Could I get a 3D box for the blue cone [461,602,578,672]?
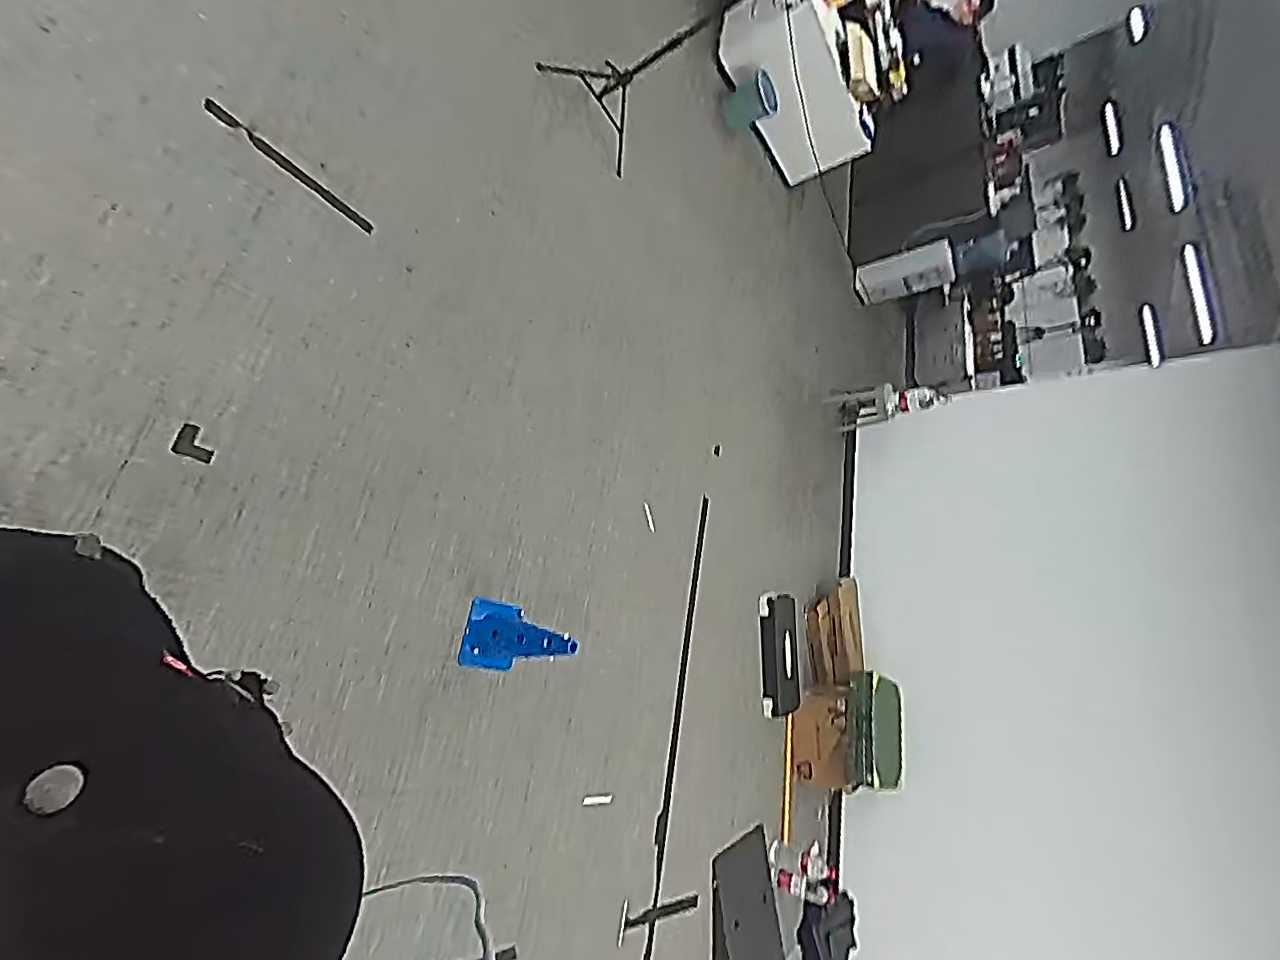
[{"bbox_3d":[-0.324,0.465,1.552,0.193,0.380,0.192,33,59,-45],"label":"blue cone"}]
